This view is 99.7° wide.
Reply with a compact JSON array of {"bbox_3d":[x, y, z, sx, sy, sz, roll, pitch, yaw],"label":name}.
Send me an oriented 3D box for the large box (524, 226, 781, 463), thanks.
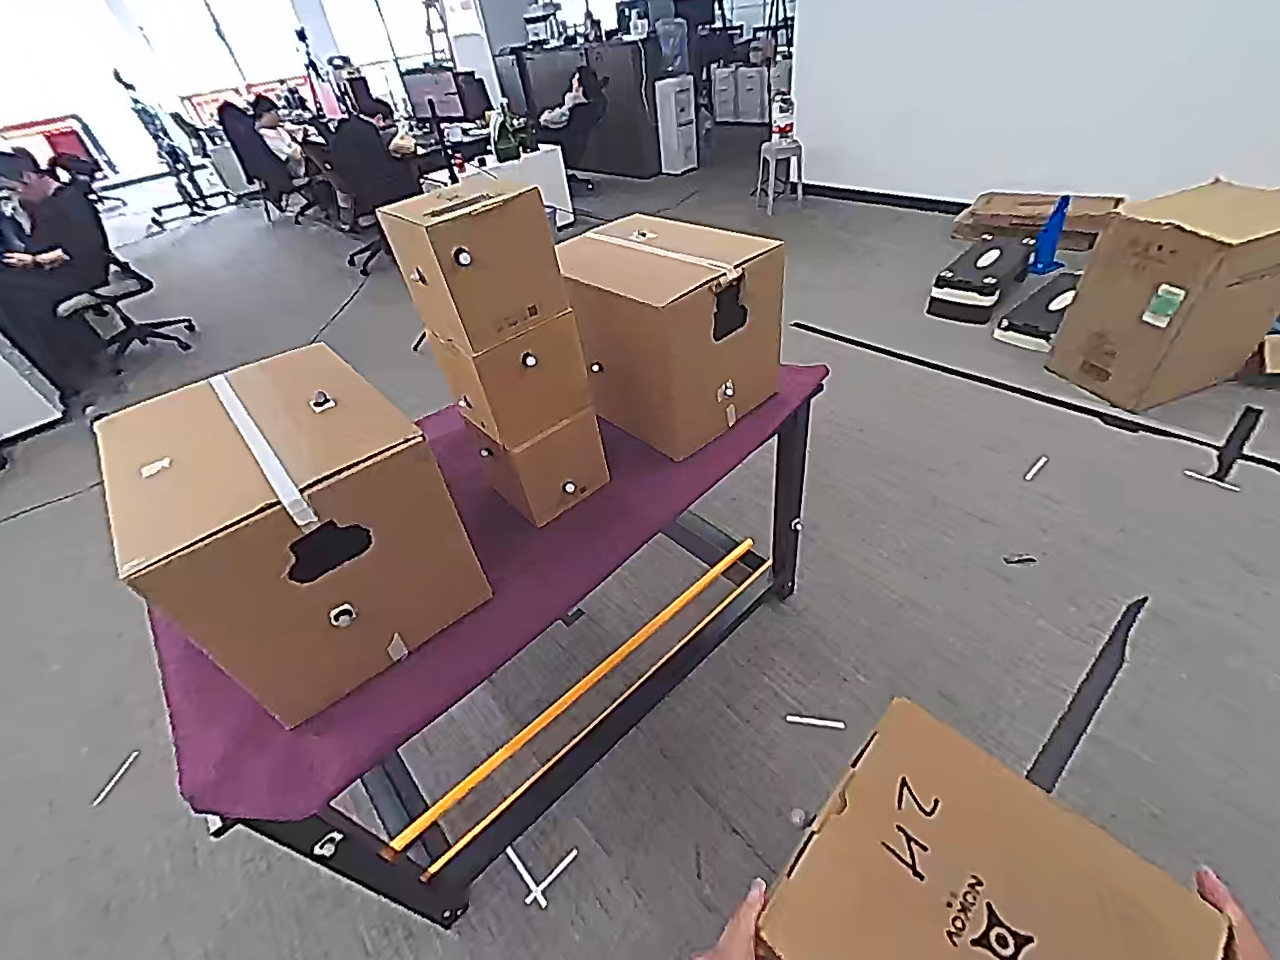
[{"bbox_3d":[0.036,-0.293,1.108,0.320,0.320,0.408,-35,45,-27],"label":"large box"}]
